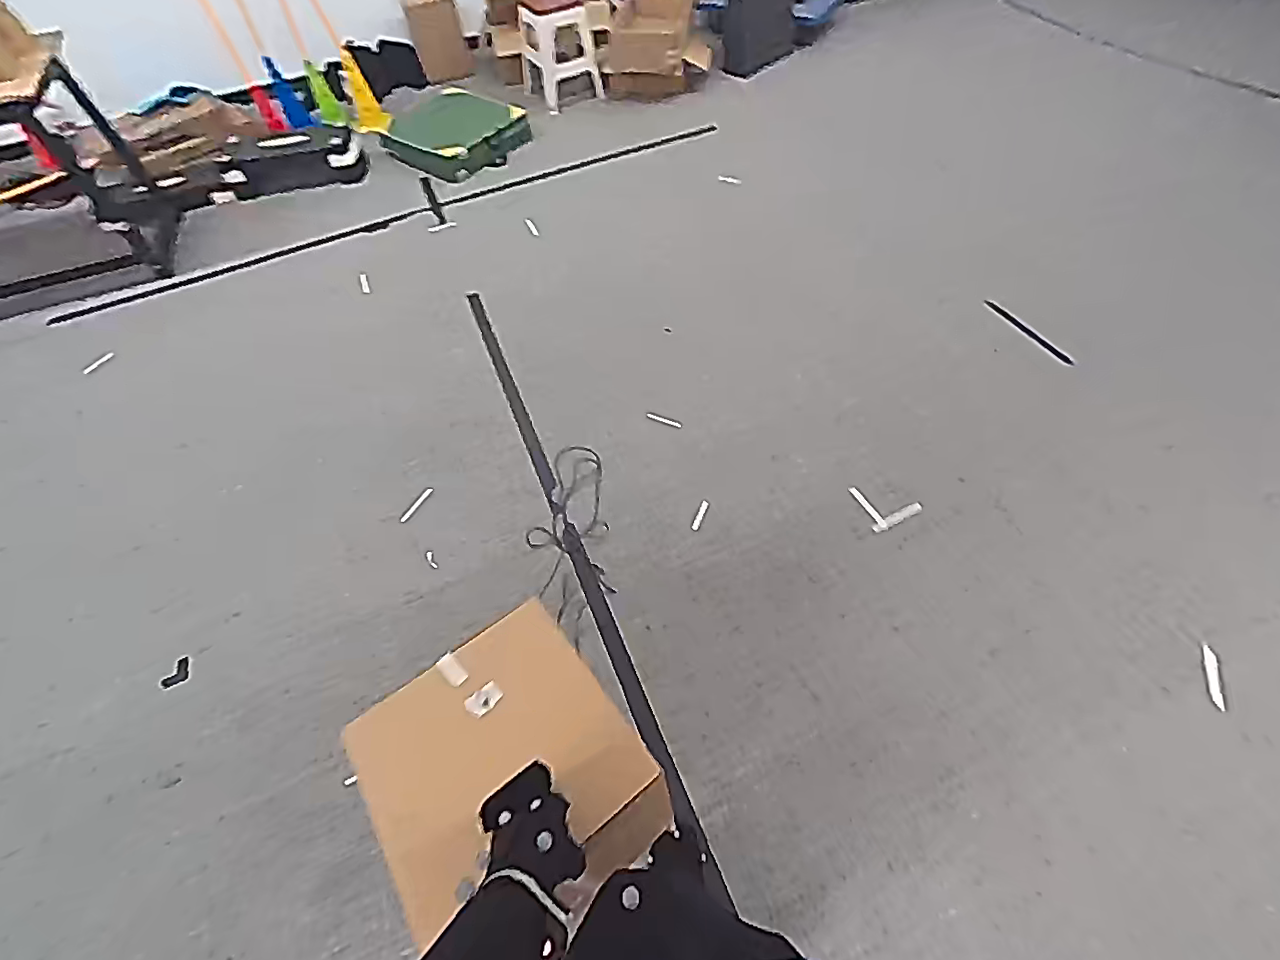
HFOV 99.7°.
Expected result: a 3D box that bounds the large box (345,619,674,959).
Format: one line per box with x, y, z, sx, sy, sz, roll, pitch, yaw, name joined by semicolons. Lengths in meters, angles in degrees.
-0.169;0.488;0.844;0.320;0.408;0.320;-34;56;-20;large box
